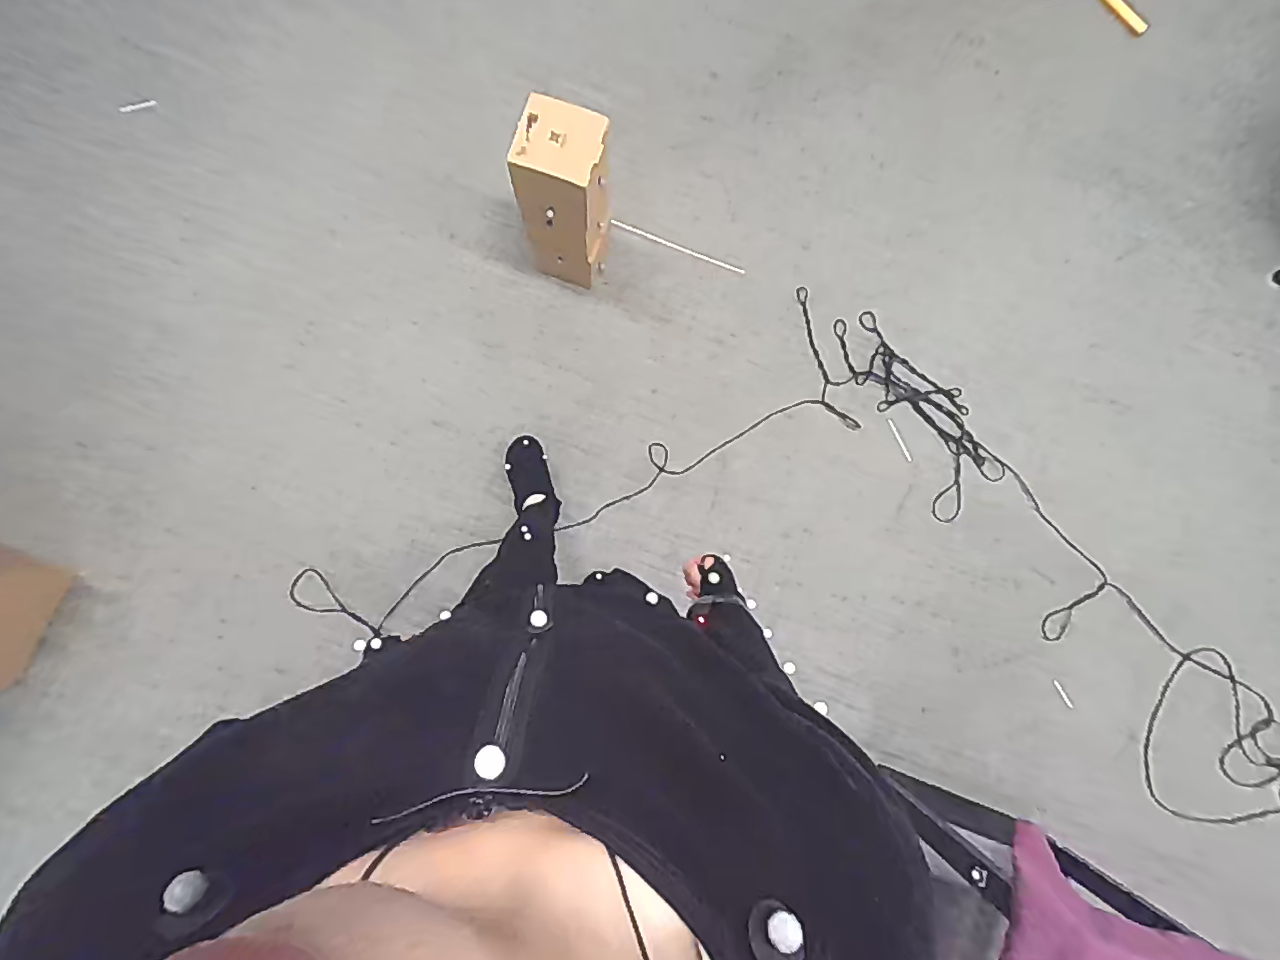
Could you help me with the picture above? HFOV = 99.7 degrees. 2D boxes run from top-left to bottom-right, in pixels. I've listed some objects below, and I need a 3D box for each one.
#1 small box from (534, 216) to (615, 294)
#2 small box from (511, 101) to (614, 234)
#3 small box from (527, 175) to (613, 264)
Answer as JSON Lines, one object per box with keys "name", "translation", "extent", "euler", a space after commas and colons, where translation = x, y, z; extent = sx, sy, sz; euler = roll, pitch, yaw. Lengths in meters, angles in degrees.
{"name": "small box", "translation": [-0.180, -0.653, 1.527], "extent": [0.179, 0.176, 0.168], "euler": [20, 82, -2]}
{"name": "small box", "translation": [-0.166, -0.680, 1.201], "extent": [0.179, 0.176, 0.168], "euler": [18, 82, -2]}
{"name": "small box", "translation": [-0.178, -0.677, 1.365], "extent": [0.179, 0.176, 0.168], "euler": [20, 83, -2]}
